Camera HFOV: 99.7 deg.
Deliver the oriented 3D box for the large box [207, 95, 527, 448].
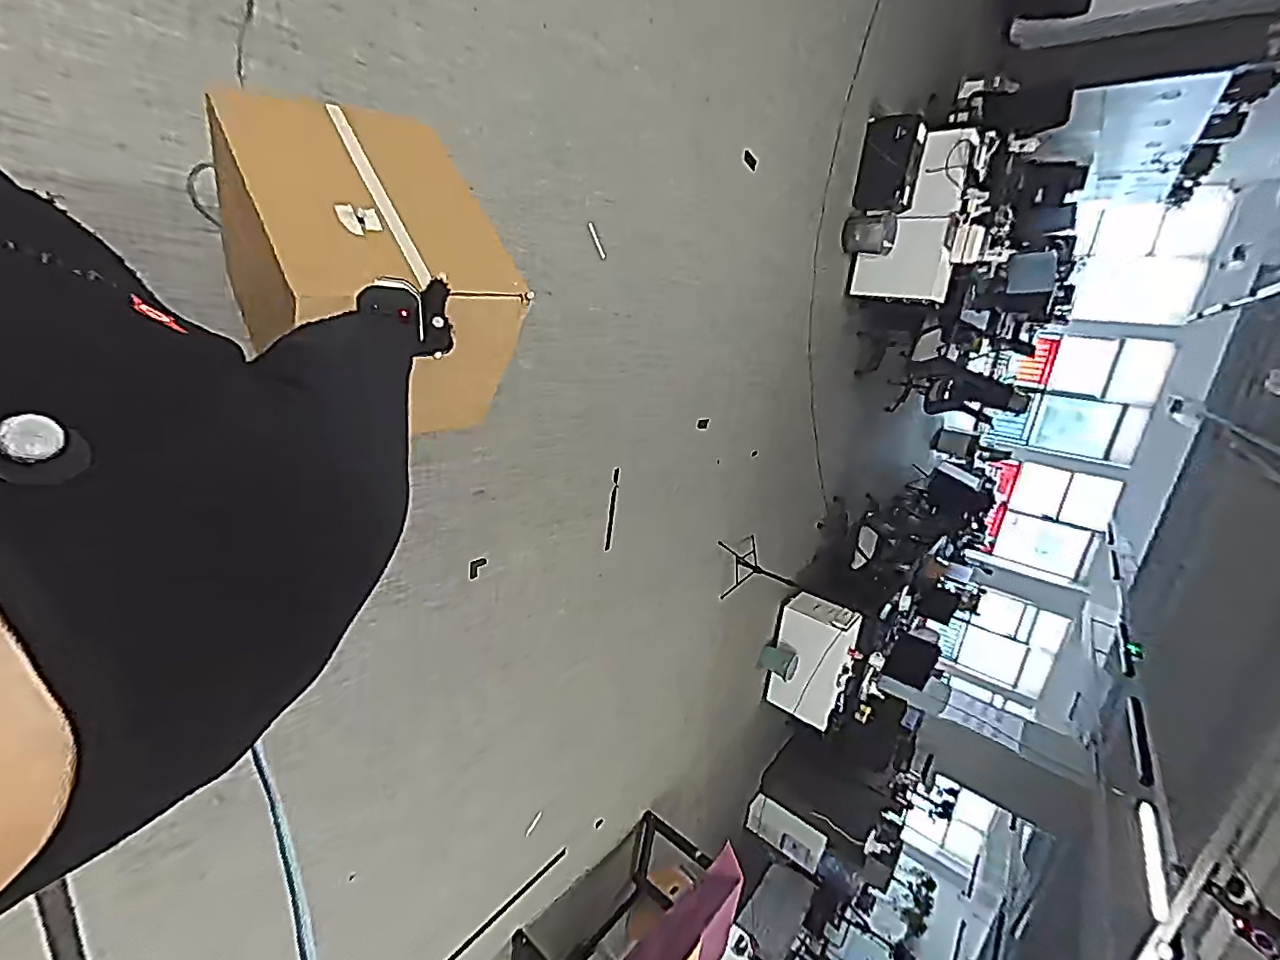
[{"bbox_3d":[-0.453,-0.318,0.885,0.320,0.408,0.320,-17,159,-41],"label":"large box"}]
